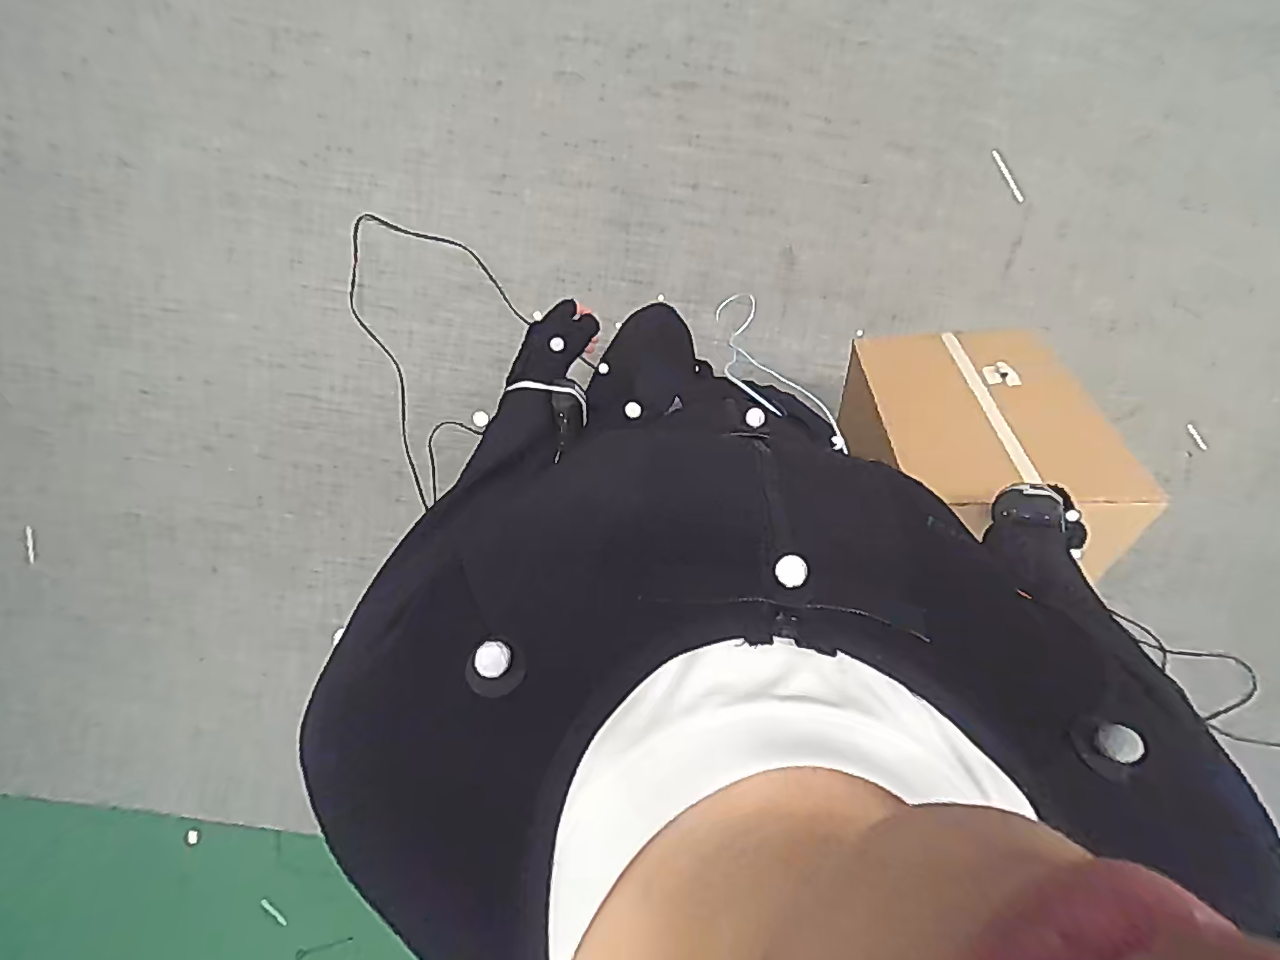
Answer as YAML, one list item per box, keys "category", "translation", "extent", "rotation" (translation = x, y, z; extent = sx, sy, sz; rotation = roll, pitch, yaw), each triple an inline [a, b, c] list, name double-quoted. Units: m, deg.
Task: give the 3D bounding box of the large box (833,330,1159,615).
- category: "large box"
  translation: [0.549, -0.015, 0.953]
  extent: [0.320, 0.408, 0.320]
  rotation: [-1, 137, 7]
